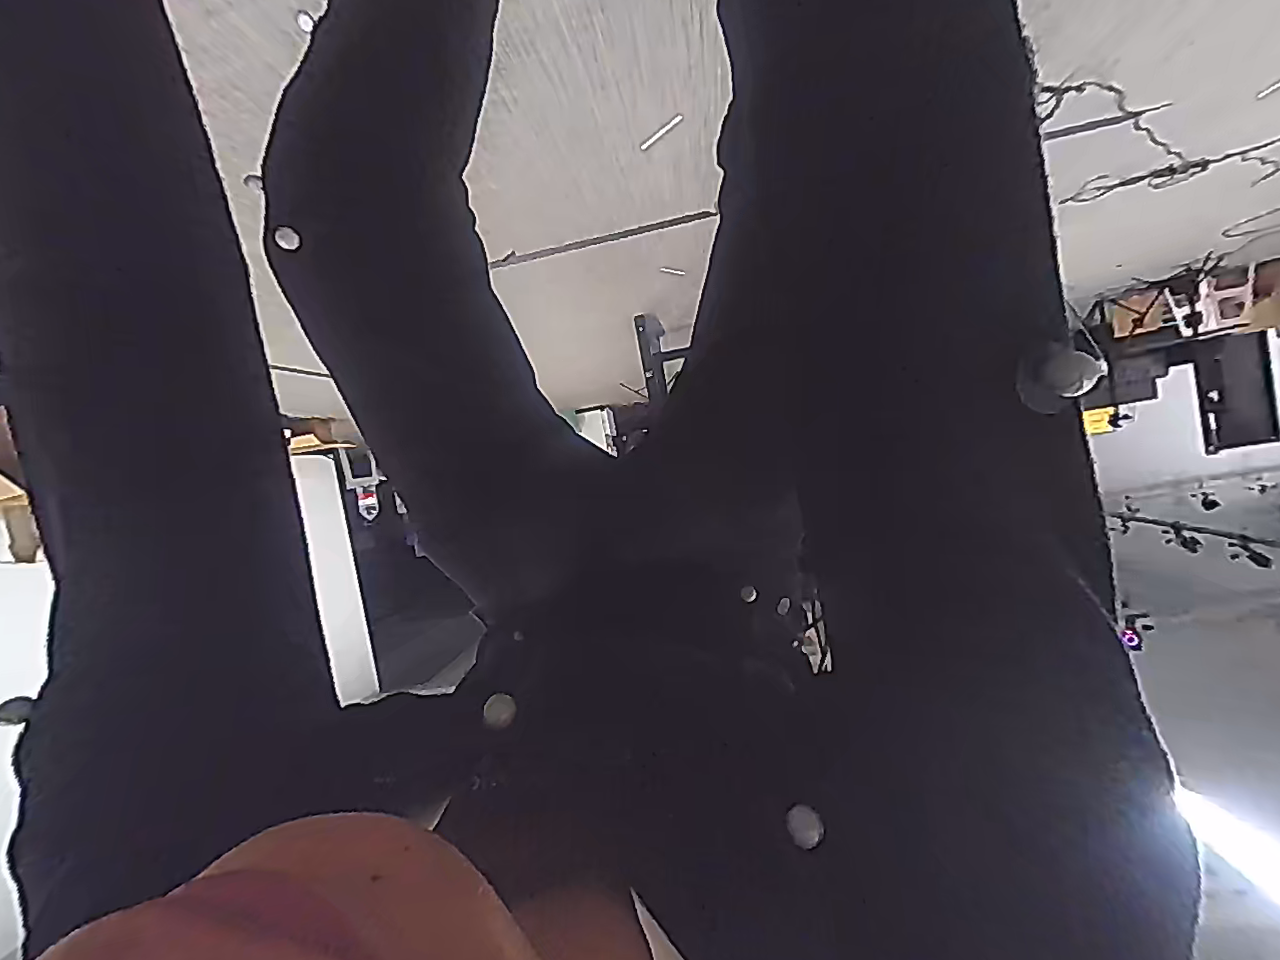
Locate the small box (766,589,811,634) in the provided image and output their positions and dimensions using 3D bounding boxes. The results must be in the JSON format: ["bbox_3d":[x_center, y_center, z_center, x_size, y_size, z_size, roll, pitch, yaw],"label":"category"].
[{"bbox_3d":[0.730,0.645,2.677,0.179,0.176,0.168,-10,-177,8],"label":"small box"}]
